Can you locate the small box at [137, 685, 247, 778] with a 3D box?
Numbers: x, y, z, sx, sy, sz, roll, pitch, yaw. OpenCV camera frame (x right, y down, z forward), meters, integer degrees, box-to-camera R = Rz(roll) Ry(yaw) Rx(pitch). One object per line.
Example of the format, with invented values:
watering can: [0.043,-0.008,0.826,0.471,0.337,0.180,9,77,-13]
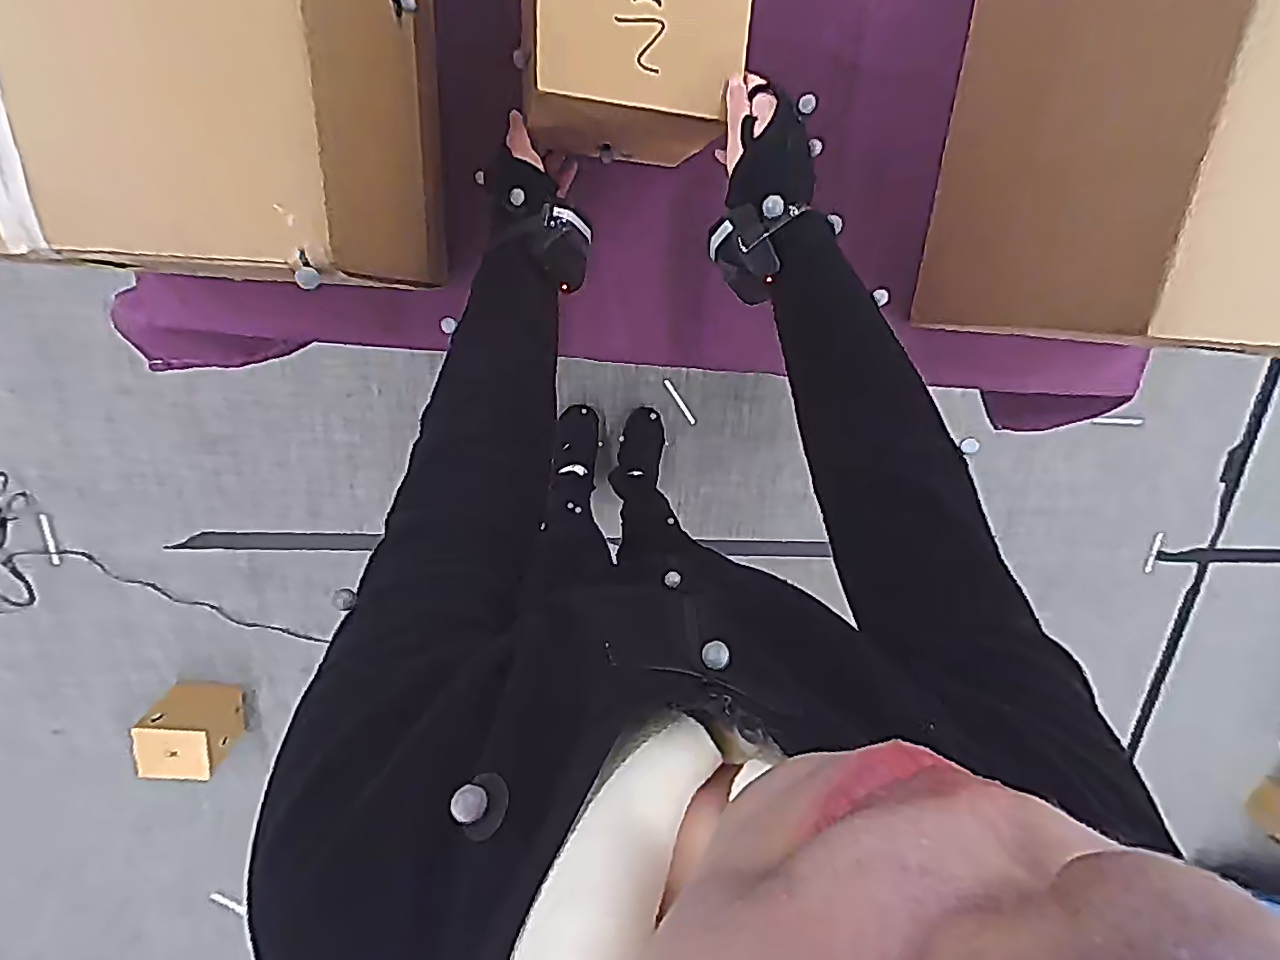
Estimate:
small box: [-1.213,0.685,1.484,0.179,0.176,0.168,7,108,-8]
